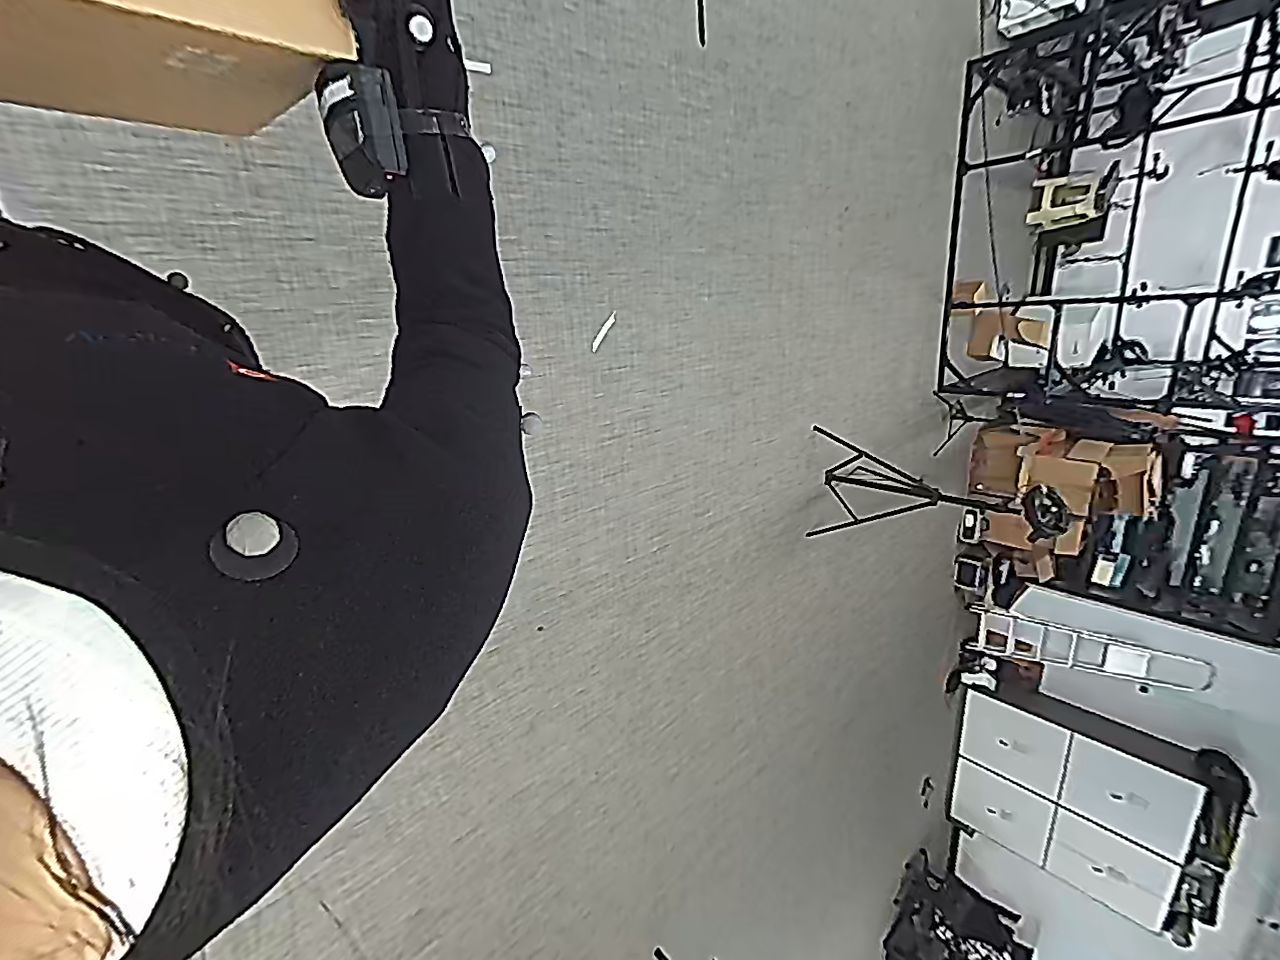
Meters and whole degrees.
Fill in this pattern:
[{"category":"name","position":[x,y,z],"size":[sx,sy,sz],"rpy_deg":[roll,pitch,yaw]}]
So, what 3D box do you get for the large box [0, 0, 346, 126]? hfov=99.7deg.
[{"category":"large box","position":[-0.429,-0.395,0.251],"size":[0.408,0.320,0.320],"rpy_deg":[-20,121,-41]}]
